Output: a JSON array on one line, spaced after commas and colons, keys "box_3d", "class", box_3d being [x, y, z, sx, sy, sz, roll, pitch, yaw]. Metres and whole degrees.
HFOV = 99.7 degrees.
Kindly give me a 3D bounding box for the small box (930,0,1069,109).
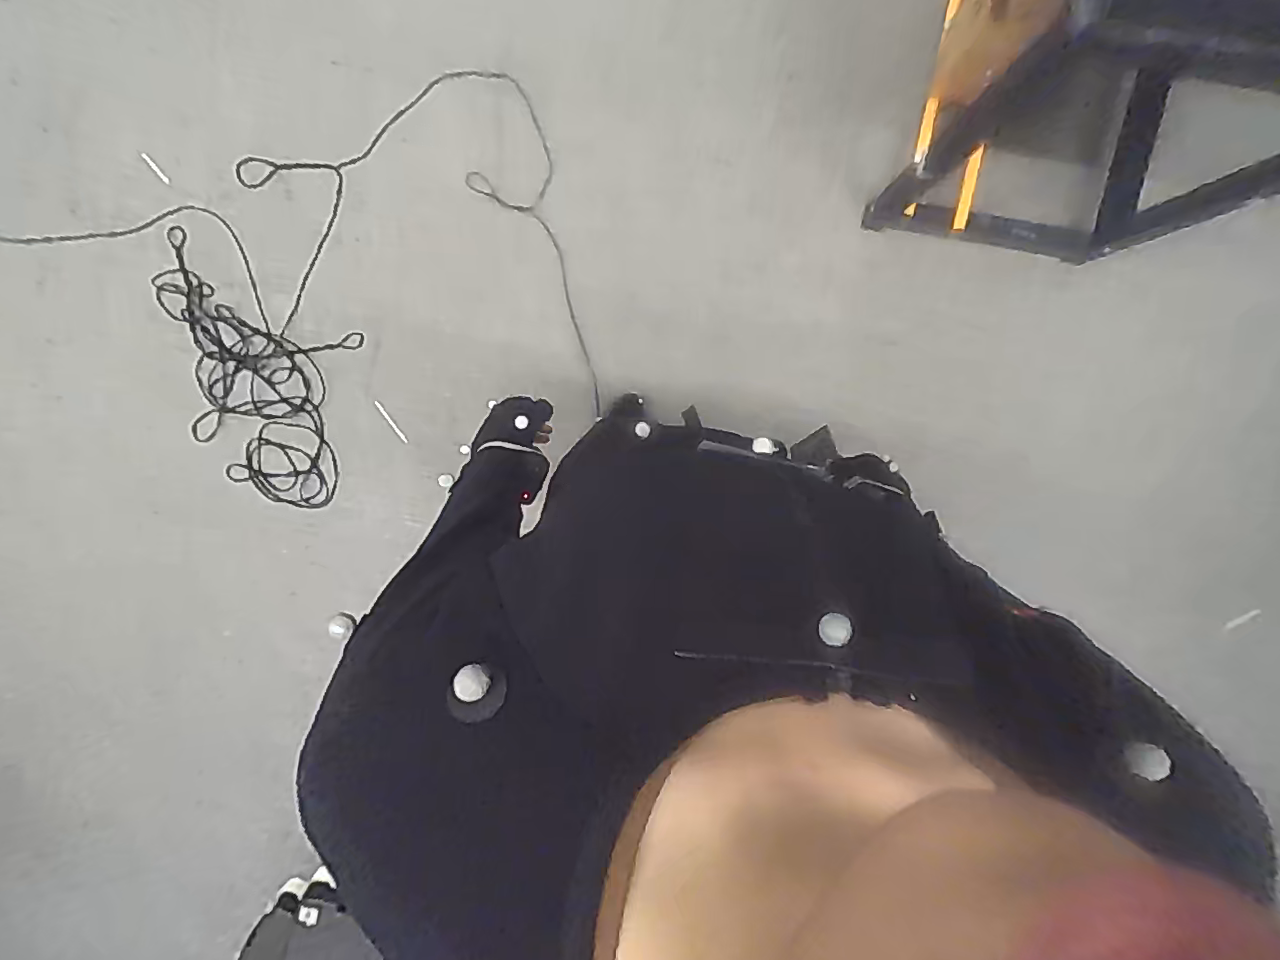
[{"box_3d": [0.762, -0.939, 1.161, 0.179, 0.176, 0.168, 13, 97, 0], "class": "small box"}]
